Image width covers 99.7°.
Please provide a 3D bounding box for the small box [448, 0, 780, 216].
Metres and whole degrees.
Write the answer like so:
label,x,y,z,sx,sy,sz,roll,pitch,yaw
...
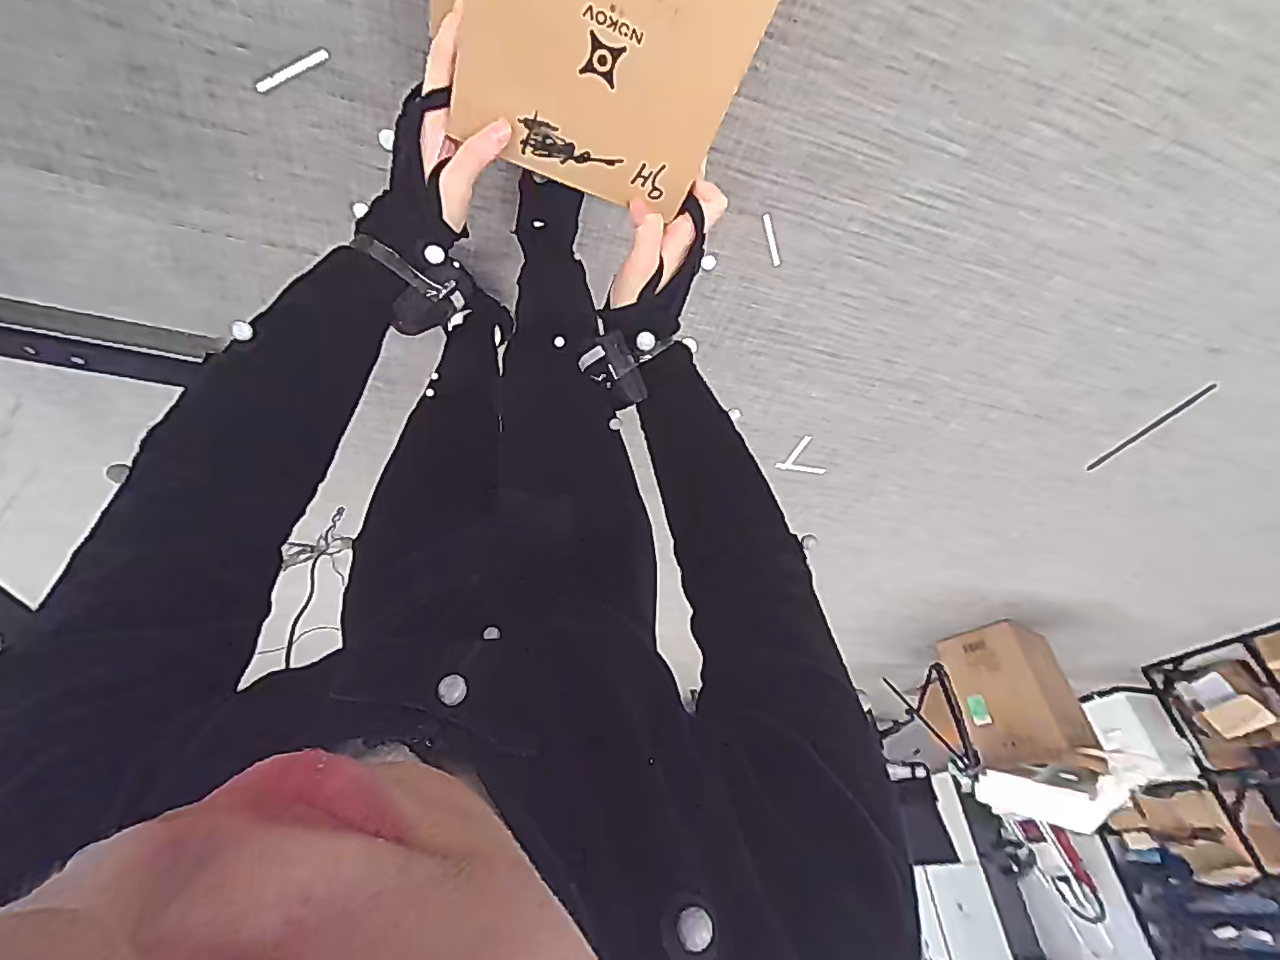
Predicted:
label,x,y,z,sx,sy,sz,roll,pitch,yaw
small box,-0.019,-0.325,0.361,0.168,0.176,0.179,13,140,-20
